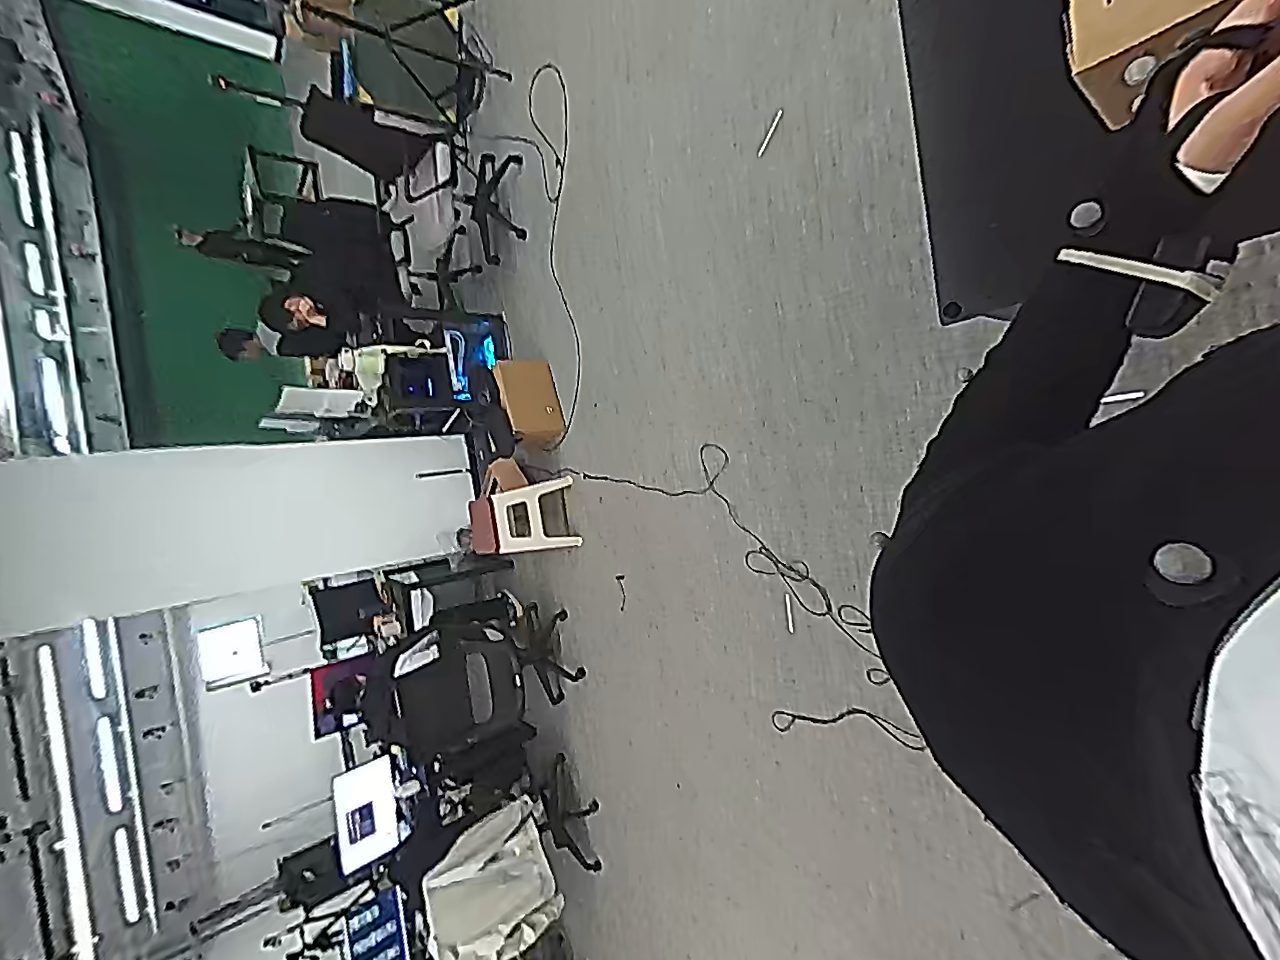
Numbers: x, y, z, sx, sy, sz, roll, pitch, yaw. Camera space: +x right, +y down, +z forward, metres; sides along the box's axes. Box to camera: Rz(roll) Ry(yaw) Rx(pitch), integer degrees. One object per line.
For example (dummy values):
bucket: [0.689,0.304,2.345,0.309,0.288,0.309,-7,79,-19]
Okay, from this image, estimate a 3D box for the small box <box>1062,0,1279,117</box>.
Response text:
small box: [0.497,-0.464,0.472,0.179,0.176,0.168,-5,92,51]
